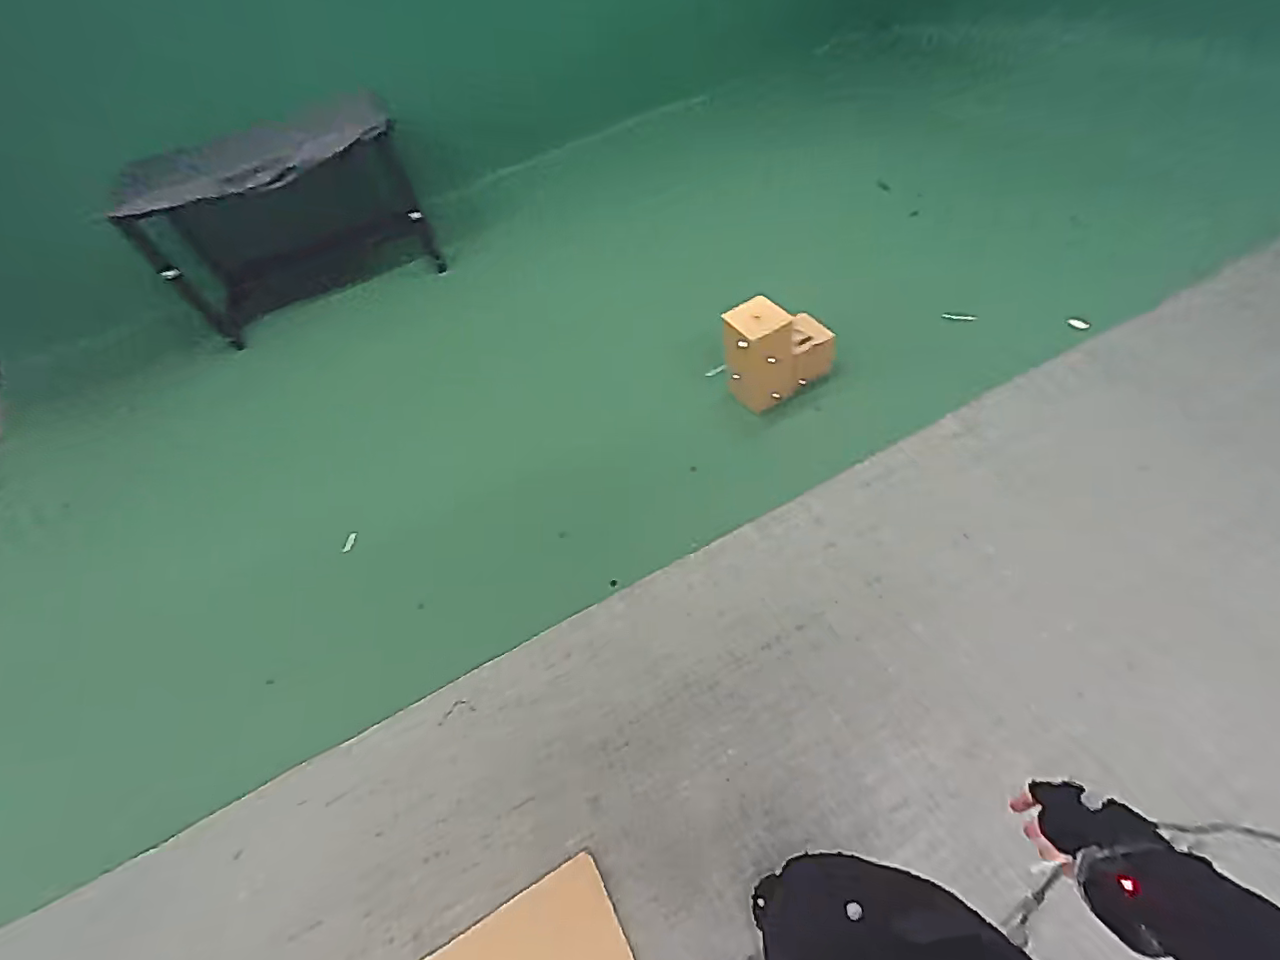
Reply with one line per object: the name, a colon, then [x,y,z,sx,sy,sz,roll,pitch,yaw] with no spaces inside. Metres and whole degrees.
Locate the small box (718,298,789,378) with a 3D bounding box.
small box: [0.380,-0.475,1.819,0.168,0.176,0.179,-30,53,-10]
